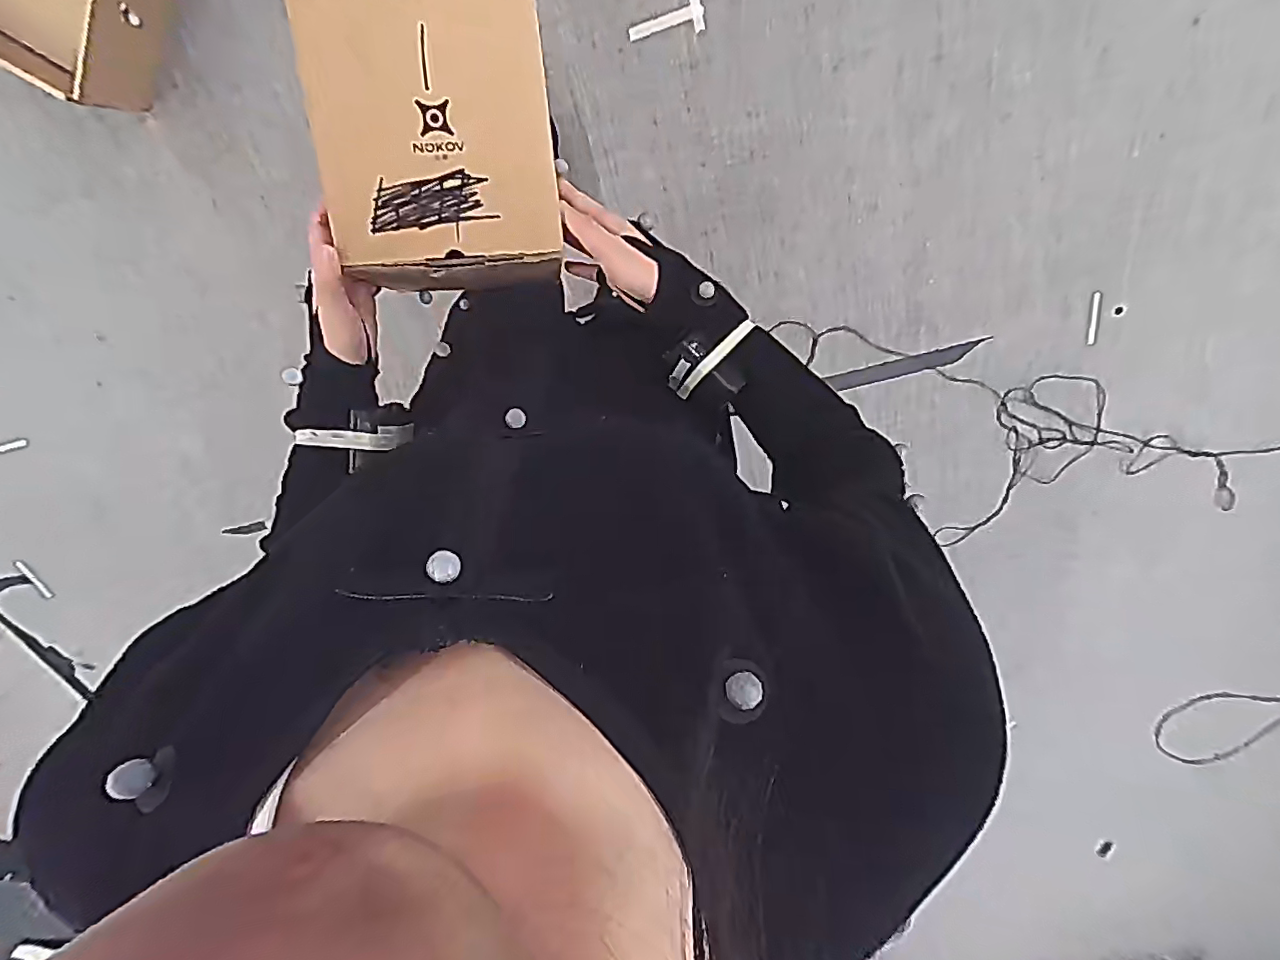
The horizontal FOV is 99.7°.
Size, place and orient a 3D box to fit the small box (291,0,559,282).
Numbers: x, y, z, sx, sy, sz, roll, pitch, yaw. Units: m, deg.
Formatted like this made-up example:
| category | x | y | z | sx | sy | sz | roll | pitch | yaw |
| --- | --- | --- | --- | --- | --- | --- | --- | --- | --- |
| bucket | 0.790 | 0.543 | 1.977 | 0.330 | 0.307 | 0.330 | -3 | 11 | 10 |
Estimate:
| category | x | y | z | sx | sy | sz | roll | pitch | yaw |
| --- | --- | --- | --- | --- | --- | --- | --- | --- | --- |
| small box | -0.158 | -0.270 | 0.460 | 0.168 | 0.176 | 0.179 | -6 | 103 | -9 |
